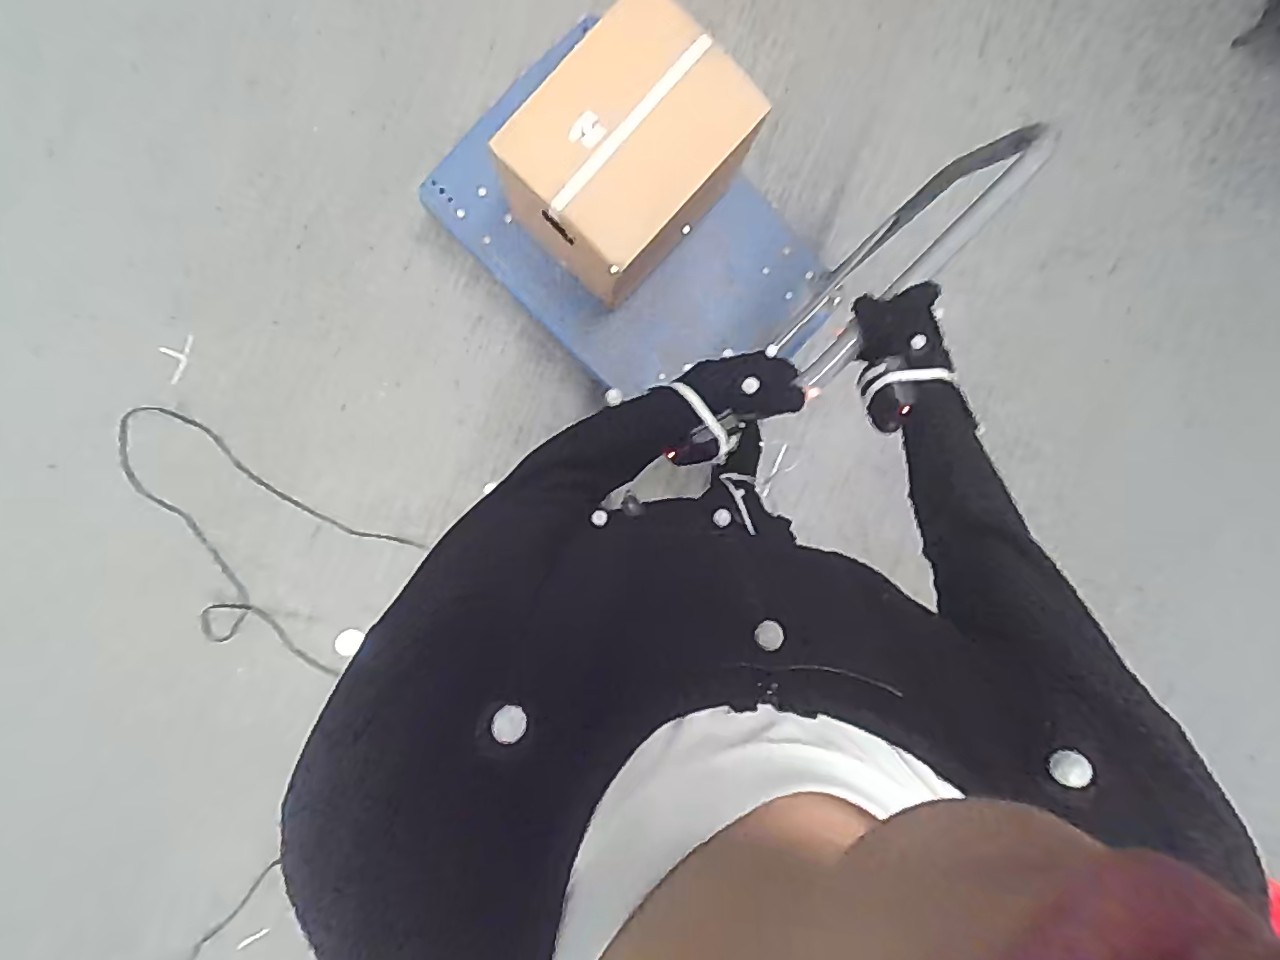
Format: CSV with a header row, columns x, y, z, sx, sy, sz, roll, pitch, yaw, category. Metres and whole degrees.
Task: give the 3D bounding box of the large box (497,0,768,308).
x,y,z,sx,sy,sz,roll,pitch,yaw,category
-0.020,-0.631,1.097,0.320,0.320,0.408,42,91,-6,large box
